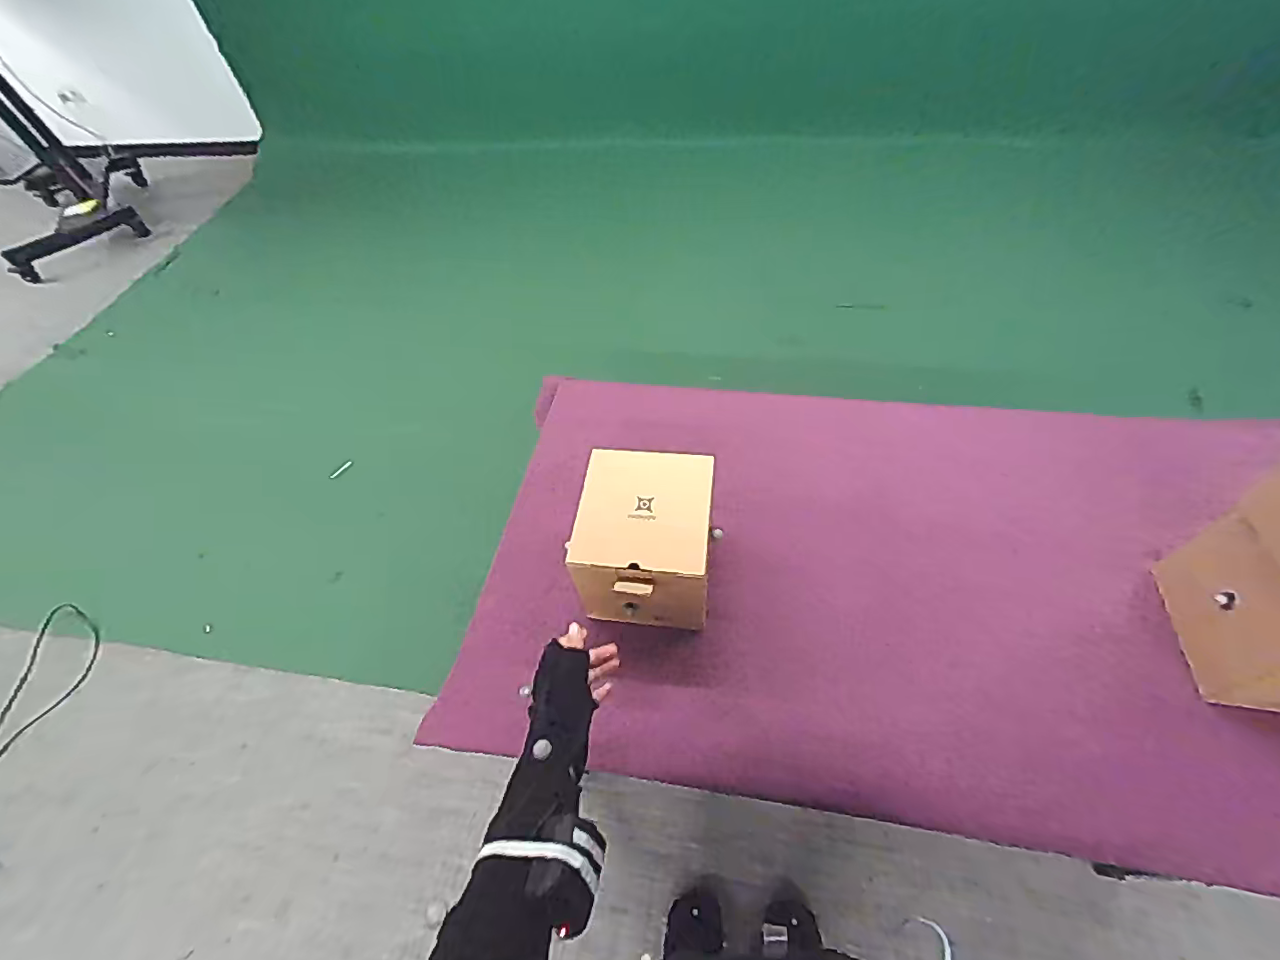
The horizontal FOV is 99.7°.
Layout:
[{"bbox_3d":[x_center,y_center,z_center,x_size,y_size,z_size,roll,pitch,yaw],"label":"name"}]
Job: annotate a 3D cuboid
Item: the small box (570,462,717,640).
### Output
[{"bbox_3d":[0.014,0.099,0.736,0.168,0.176,0.179,4,56,8],"label":"small box"}]
